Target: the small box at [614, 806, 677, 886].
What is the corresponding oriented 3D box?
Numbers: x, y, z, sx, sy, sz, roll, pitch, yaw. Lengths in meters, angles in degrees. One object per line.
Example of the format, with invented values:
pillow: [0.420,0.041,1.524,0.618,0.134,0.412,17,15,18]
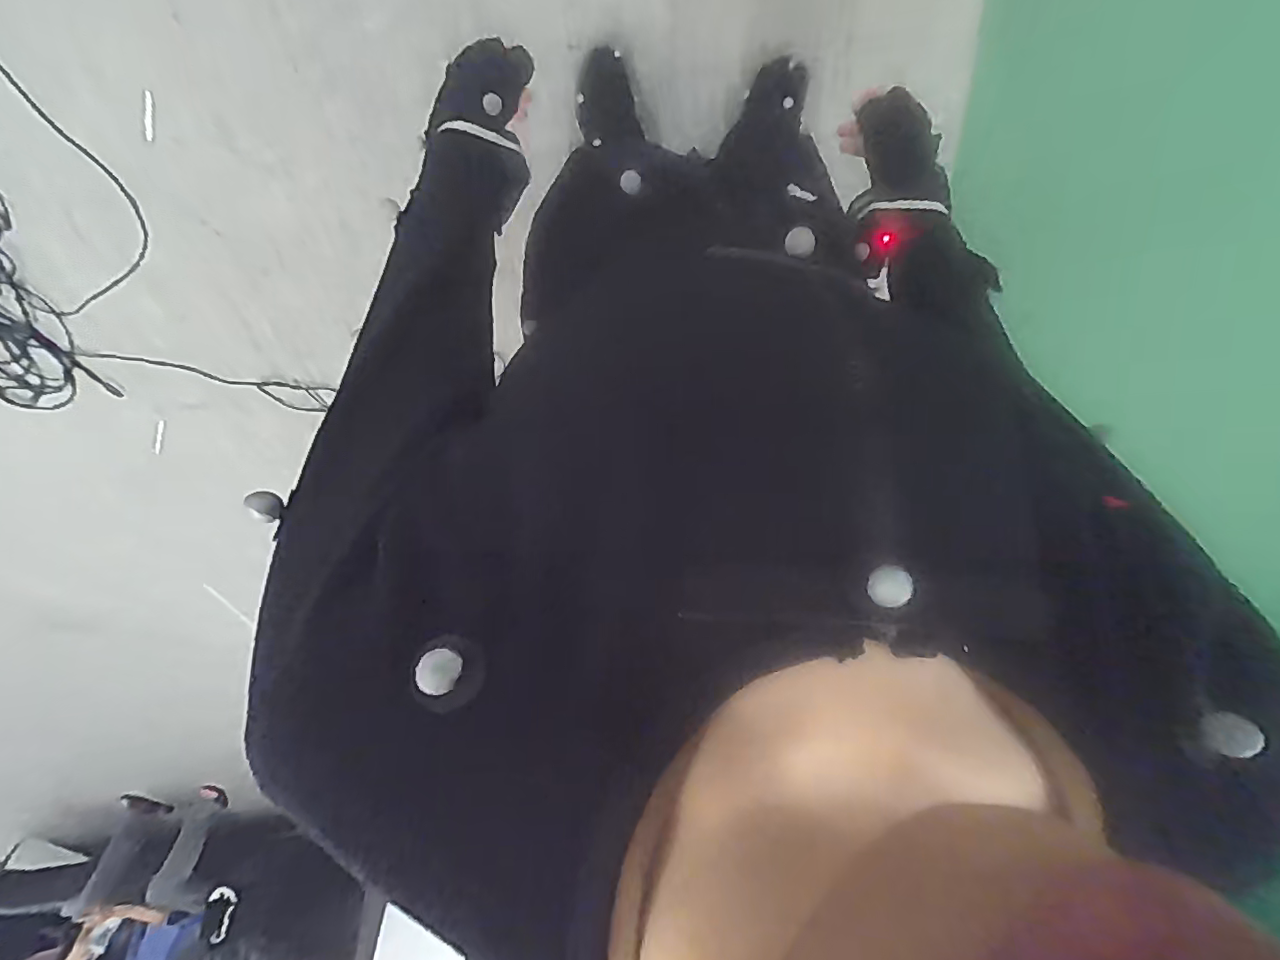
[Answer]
small box: [0.017,1.139,1.685,0.168,0.176,0.179,-12,131,5]
